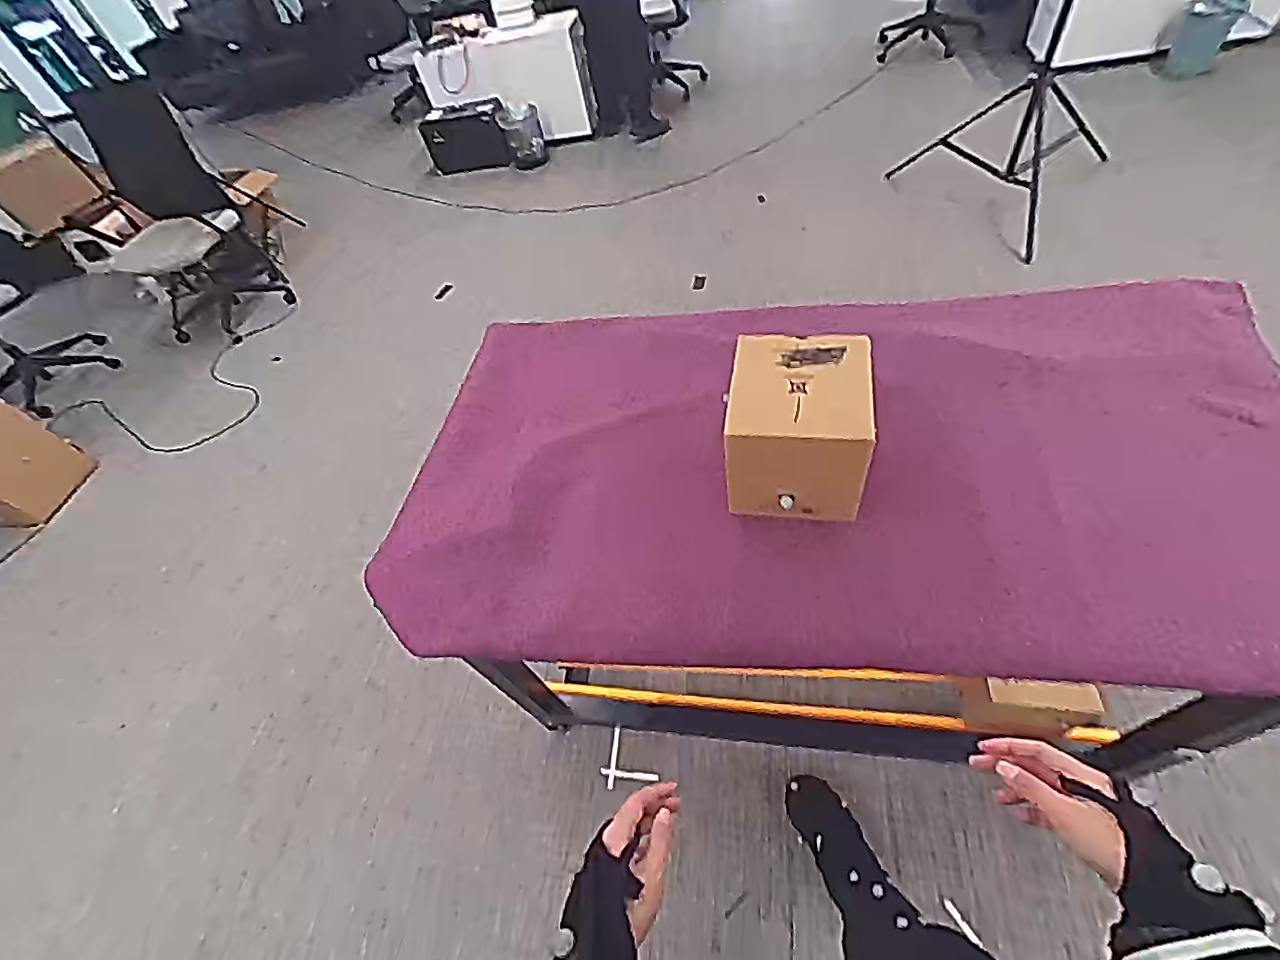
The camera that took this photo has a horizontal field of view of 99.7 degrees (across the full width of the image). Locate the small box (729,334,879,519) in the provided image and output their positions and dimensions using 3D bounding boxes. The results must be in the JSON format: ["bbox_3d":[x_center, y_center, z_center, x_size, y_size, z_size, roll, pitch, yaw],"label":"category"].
[{"bbox_3d":[0.211,-0.071,0.714,0.168,0.176,0.179,4,54,15],"label":"small box"}]
